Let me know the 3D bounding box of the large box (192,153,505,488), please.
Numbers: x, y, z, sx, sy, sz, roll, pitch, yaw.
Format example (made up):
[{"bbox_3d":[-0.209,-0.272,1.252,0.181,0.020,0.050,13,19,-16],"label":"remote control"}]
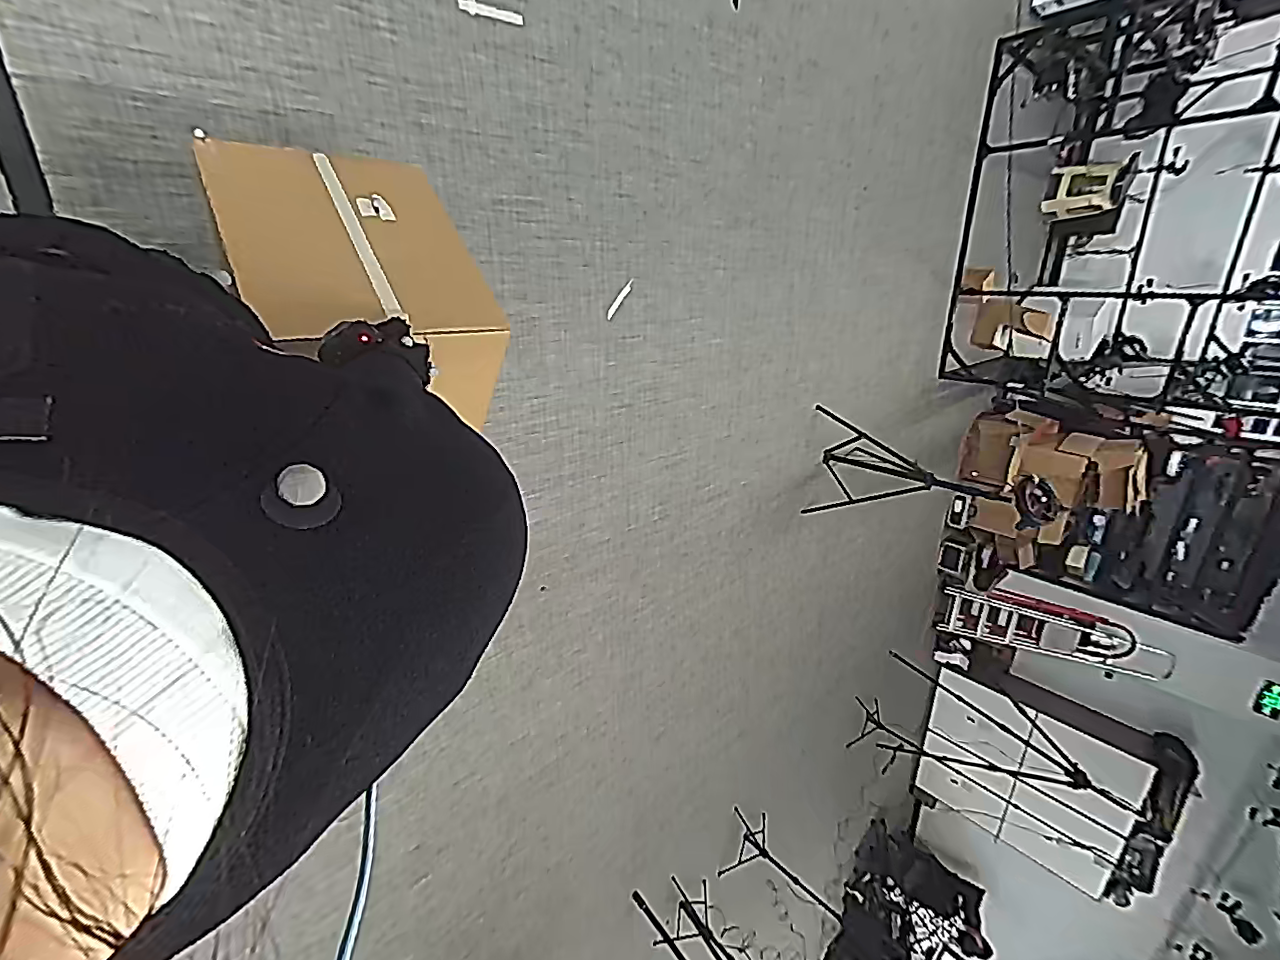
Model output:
[{"bbox_3d":[-0.473,-0.256,0.890,0.320,0.408,0.320,-15,153,-38],"label":"large box"}]
